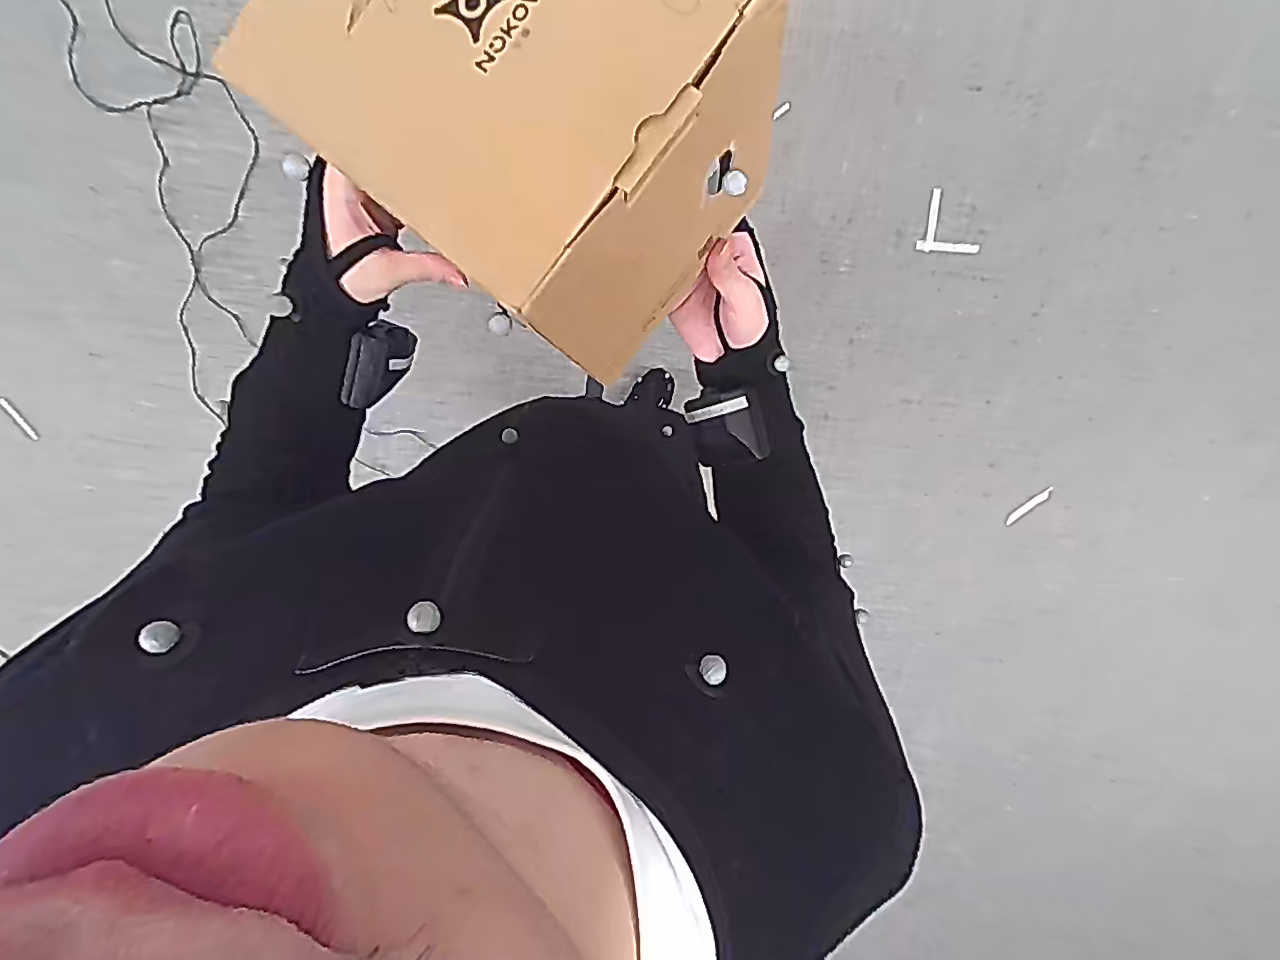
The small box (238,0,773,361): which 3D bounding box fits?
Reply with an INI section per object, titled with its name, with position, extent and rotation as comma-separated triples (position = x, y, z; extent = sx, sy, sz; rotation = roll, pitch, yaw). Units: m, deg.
[small box]
position = -0.049, -0.185, 0.299
extent = 0.179, 0.176, 0.168
rotation = 39, 95, 7
